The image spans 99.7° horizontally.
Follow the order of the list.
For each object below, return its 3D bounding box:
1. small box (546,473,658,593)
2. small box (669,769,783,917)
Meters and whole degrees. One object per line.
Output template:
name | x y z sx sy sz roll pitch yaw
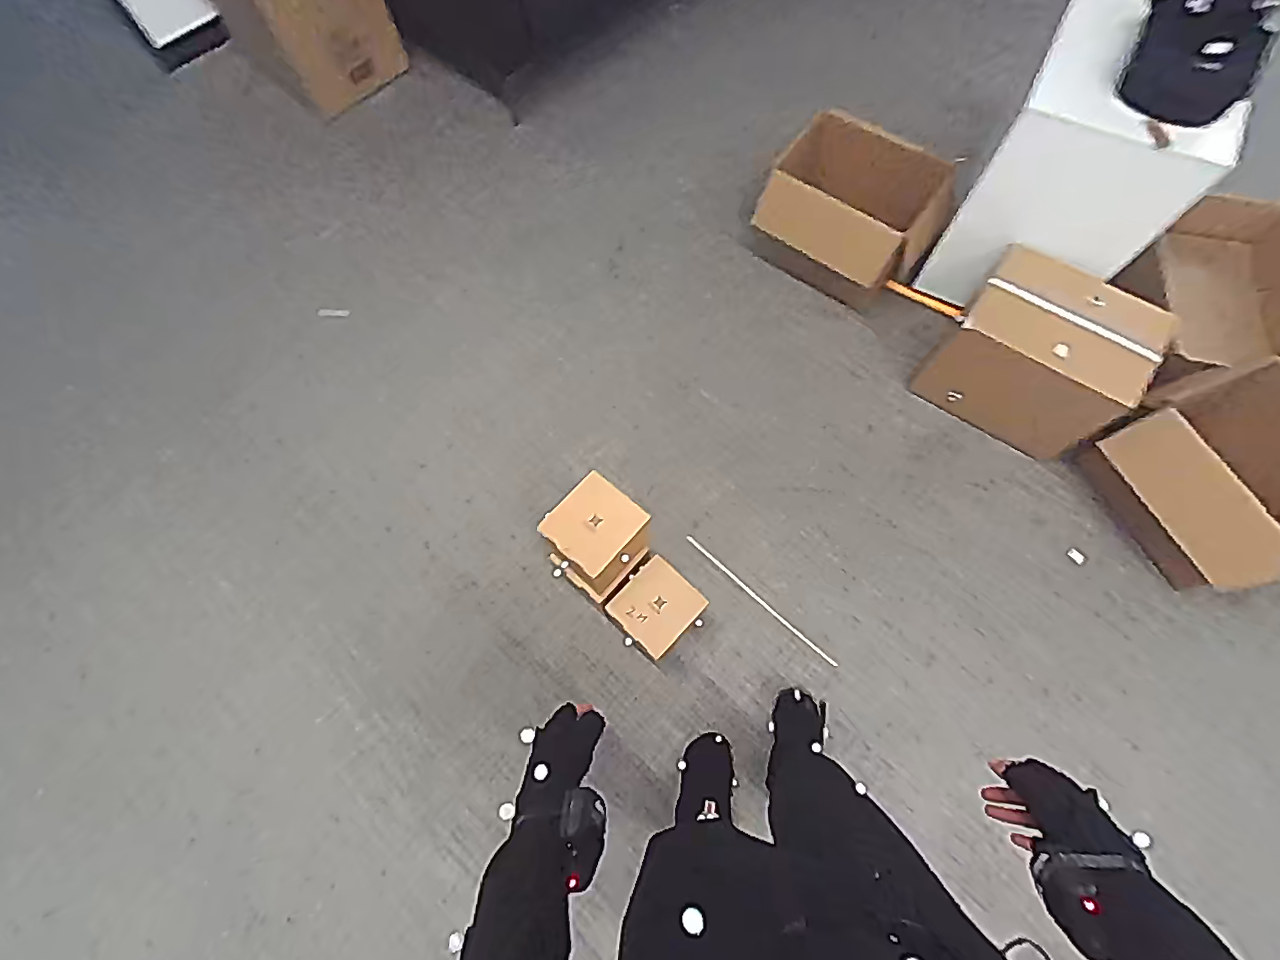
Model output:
small box | -0.079 0.121 1.186 0.168 0.176 0.179 40 74 16
small box | 0.171 0.746 1.133 0.168 0.176 0.179 27 74 4
